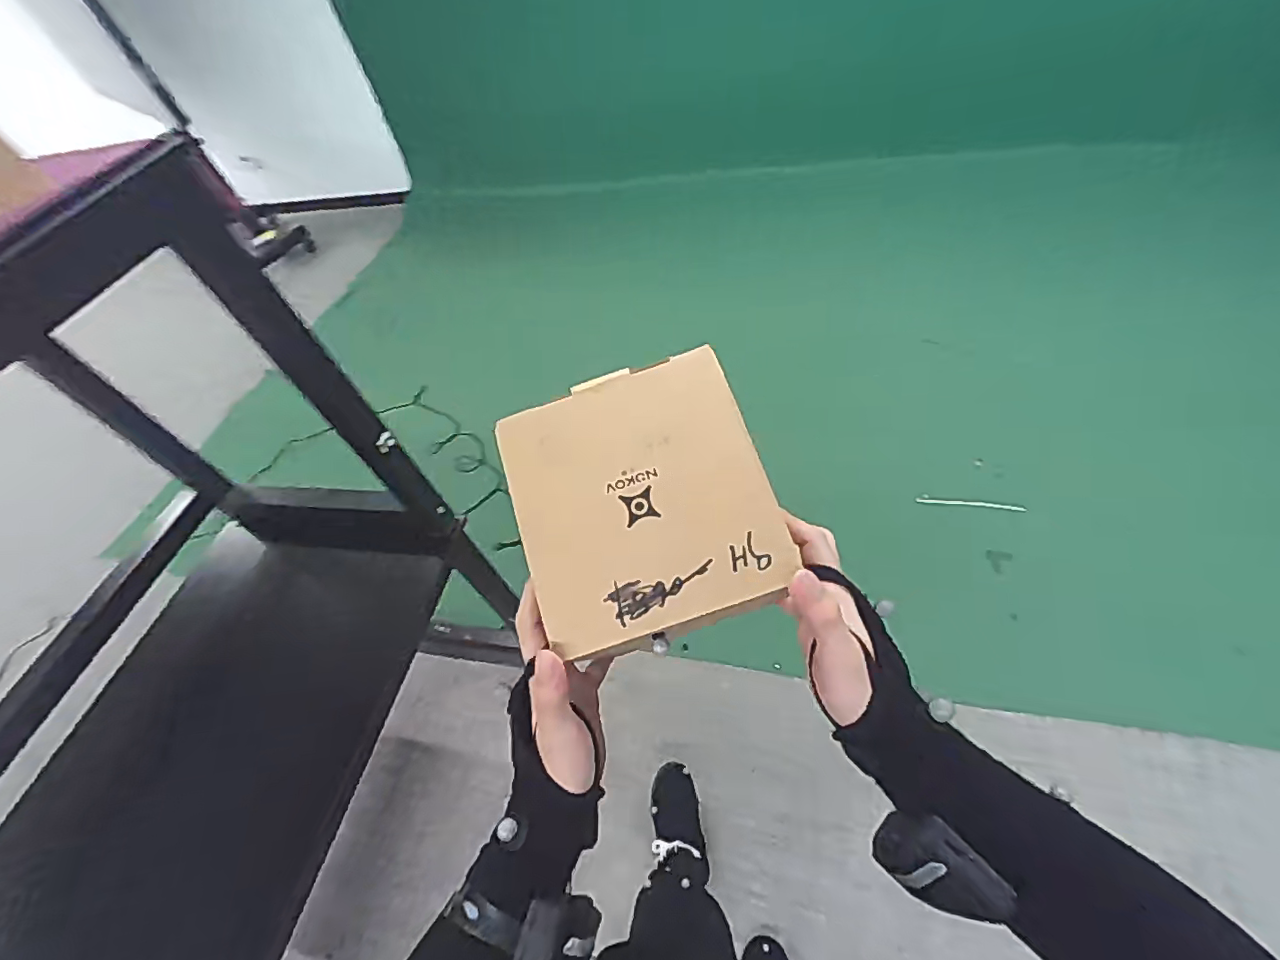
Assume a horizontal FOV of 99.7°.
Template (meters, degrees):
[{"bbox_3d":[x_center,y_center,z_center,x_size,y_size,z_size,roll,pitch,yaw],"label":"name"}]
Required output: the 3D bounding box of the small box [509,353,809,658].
[{"bbox_3d":[0.016,0.035,0.435,0.168,0.176,0.179,-19,70,4],"label":"small box"}]
